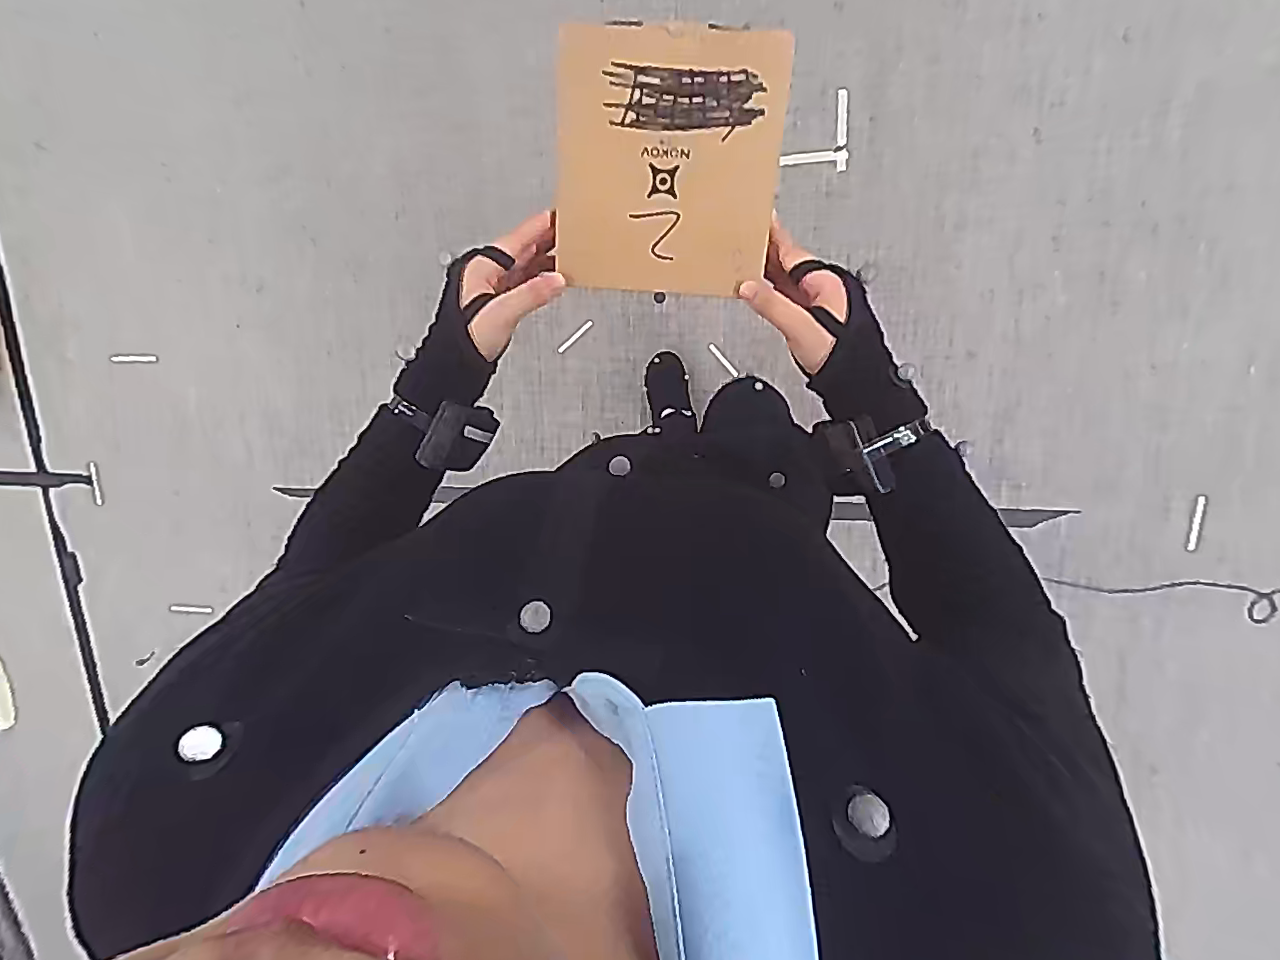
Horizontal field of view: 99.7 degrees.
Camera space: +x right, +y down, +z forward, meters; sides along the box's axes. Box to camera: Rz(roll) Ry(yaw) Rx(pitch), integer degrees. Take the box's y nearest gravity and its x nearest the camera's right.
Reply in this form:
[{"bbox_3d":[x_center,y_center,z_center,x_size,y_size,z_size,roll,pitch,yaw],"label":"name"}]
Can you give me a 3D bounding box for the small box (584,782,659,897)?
[{"bbox_3d":[-0.042,0.922,1.395,0.168,0.176,0.179,-1,101,8],"label":"small box"}]
